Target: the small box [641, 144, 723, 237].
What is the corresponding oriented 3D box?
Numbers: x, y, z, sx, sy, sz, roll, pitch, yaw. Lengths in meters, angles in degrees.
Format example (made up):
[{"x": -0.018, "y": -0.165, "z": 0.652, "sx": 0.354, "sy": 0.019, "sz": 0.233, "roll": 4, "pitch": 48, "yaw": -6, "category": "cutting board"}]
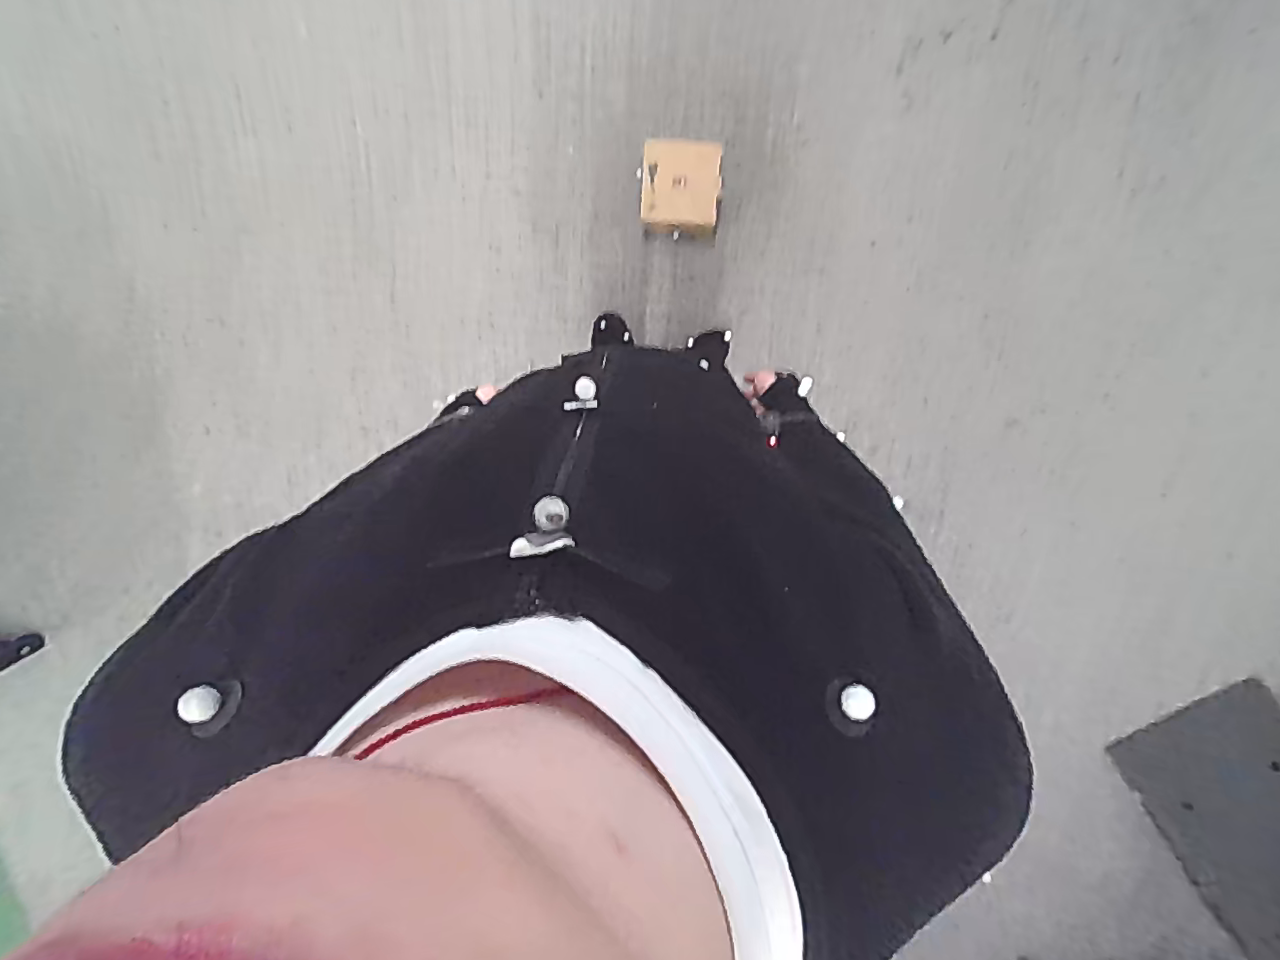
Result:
[{"x": 0.095, "y": -0.687, "z": 1.299, "sx": 0.179, "sy": 0.176, "sz": 0.168, "roll": 4, "pitch": 107, "yaw": 0, "category": "small box"}]
